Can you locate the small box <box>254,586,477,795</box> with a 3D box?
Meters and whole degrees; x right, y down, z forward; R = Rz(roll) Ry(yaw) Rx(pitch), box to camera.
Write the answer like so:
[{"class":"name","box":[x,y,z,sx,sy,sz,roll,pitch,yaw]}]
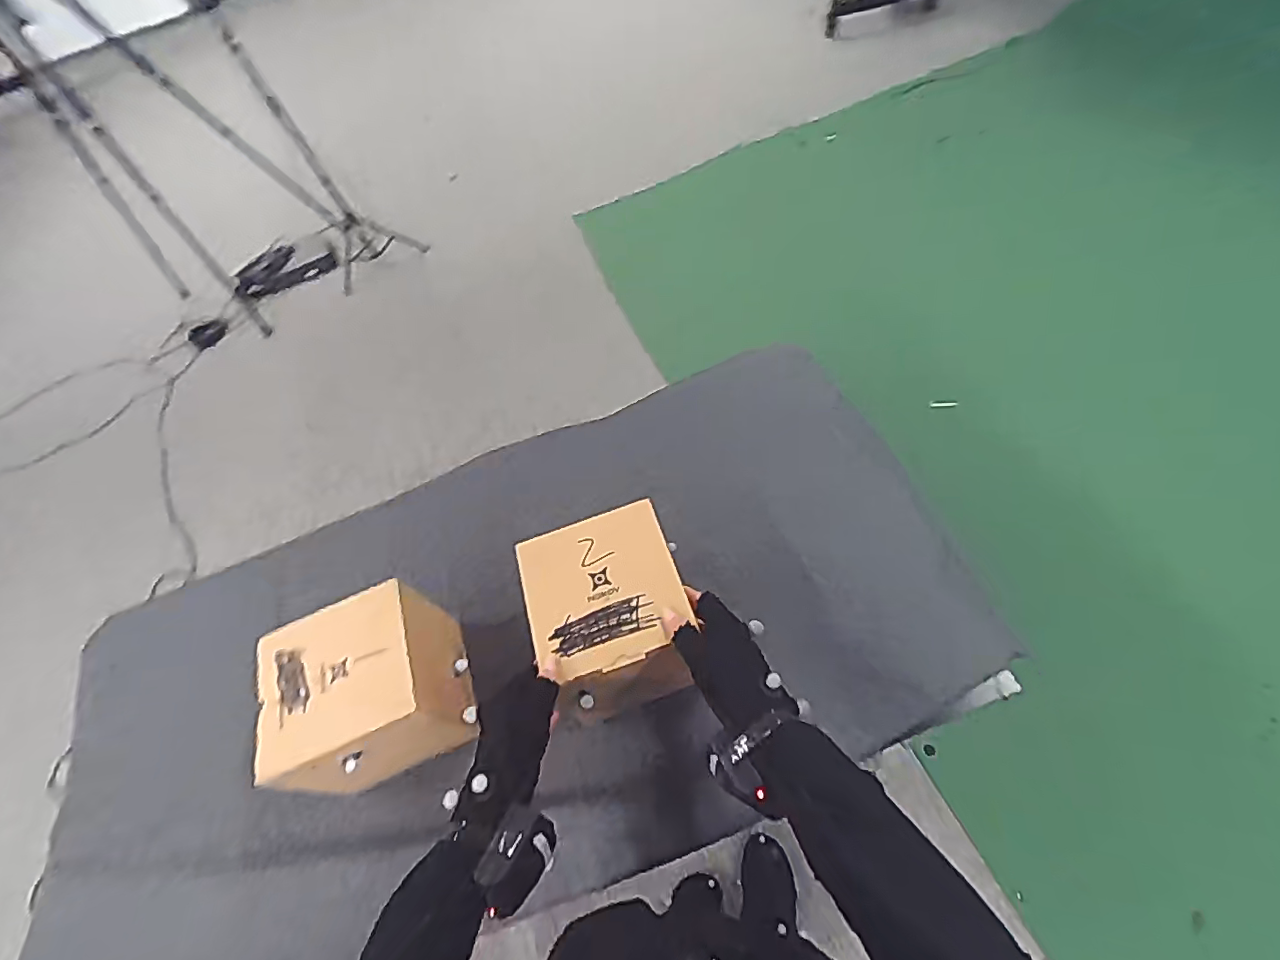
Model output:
[{"class":"small box","box":[-0.327,0.264,0.663,0.179,0.176,0.168,-24,55,-5]}]
